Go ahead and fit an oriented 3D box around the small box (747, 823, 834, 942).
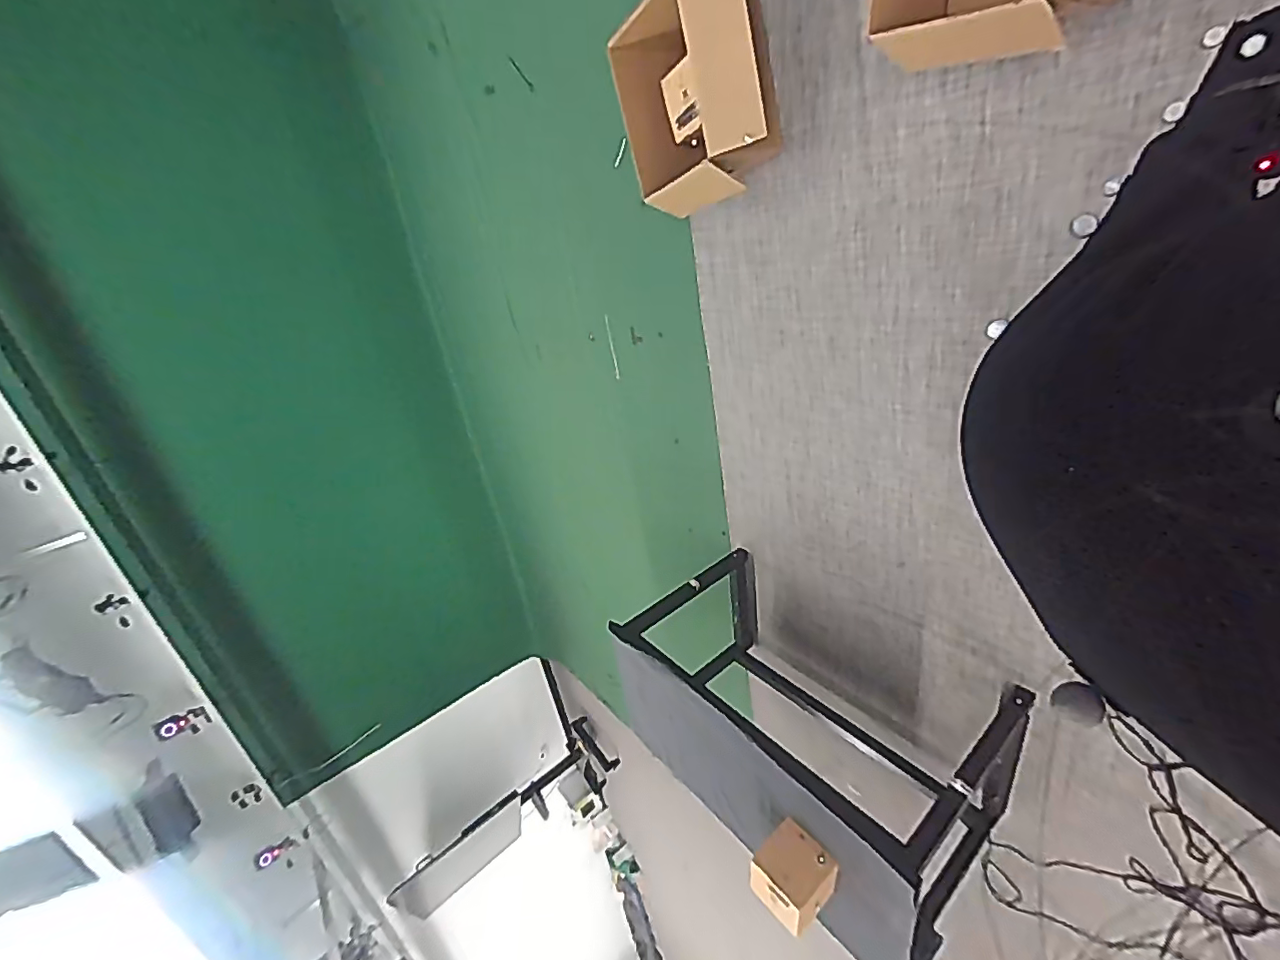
[{"bbox_3d":[0.417,1.107,1.500,0.168,0.176,0.179,28,135,45],"label":"small box"}]
